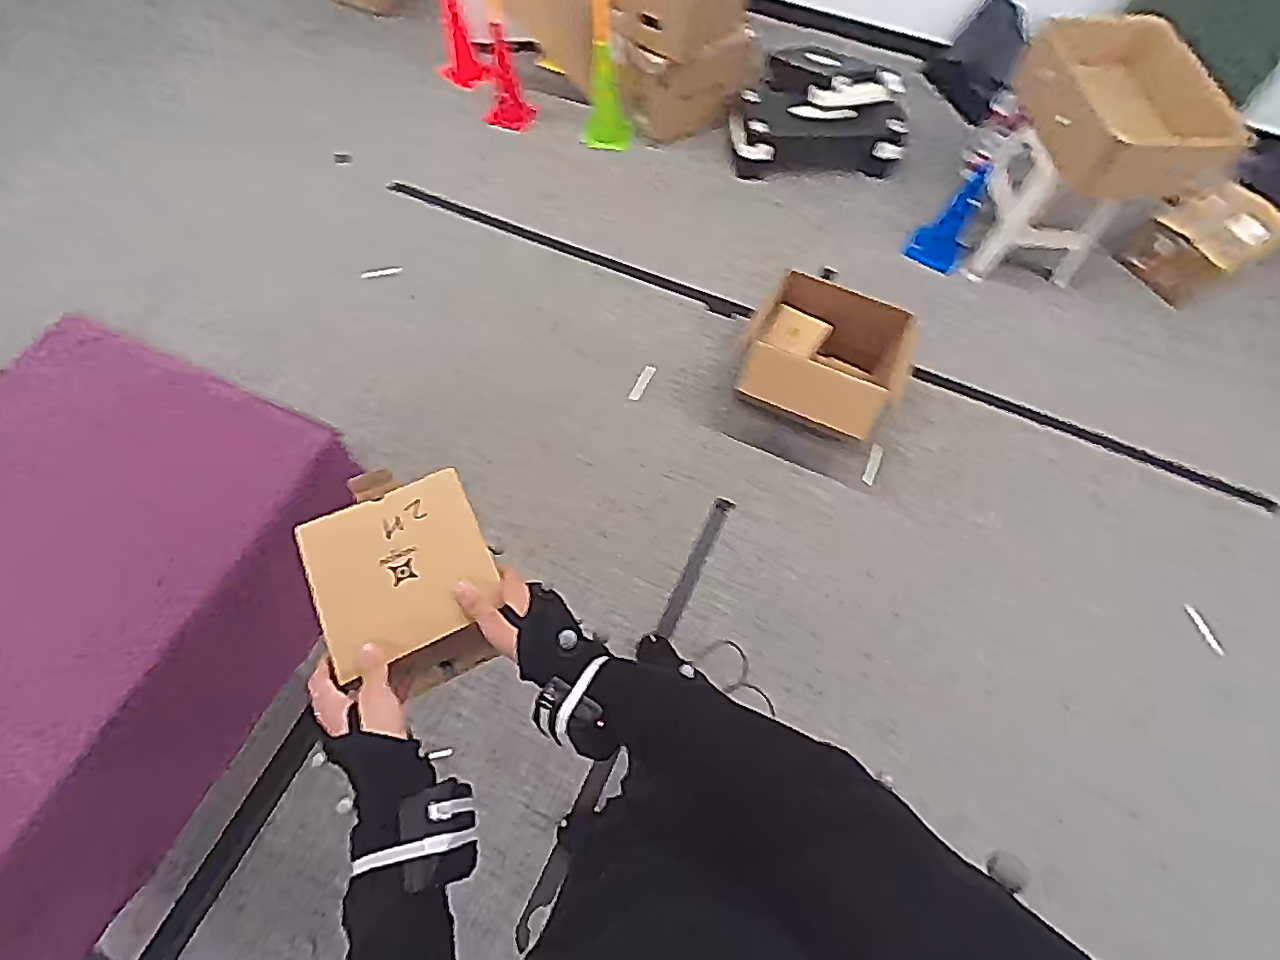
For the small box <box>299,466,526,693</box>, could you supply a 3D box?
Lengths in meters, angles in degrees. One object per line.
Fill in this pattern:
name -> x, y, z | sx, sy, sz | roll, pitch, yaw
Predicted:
small box -> -0.237, 0.119, 0.600 | 0.168, 0.176, 0.179 | -23, 66, -16
